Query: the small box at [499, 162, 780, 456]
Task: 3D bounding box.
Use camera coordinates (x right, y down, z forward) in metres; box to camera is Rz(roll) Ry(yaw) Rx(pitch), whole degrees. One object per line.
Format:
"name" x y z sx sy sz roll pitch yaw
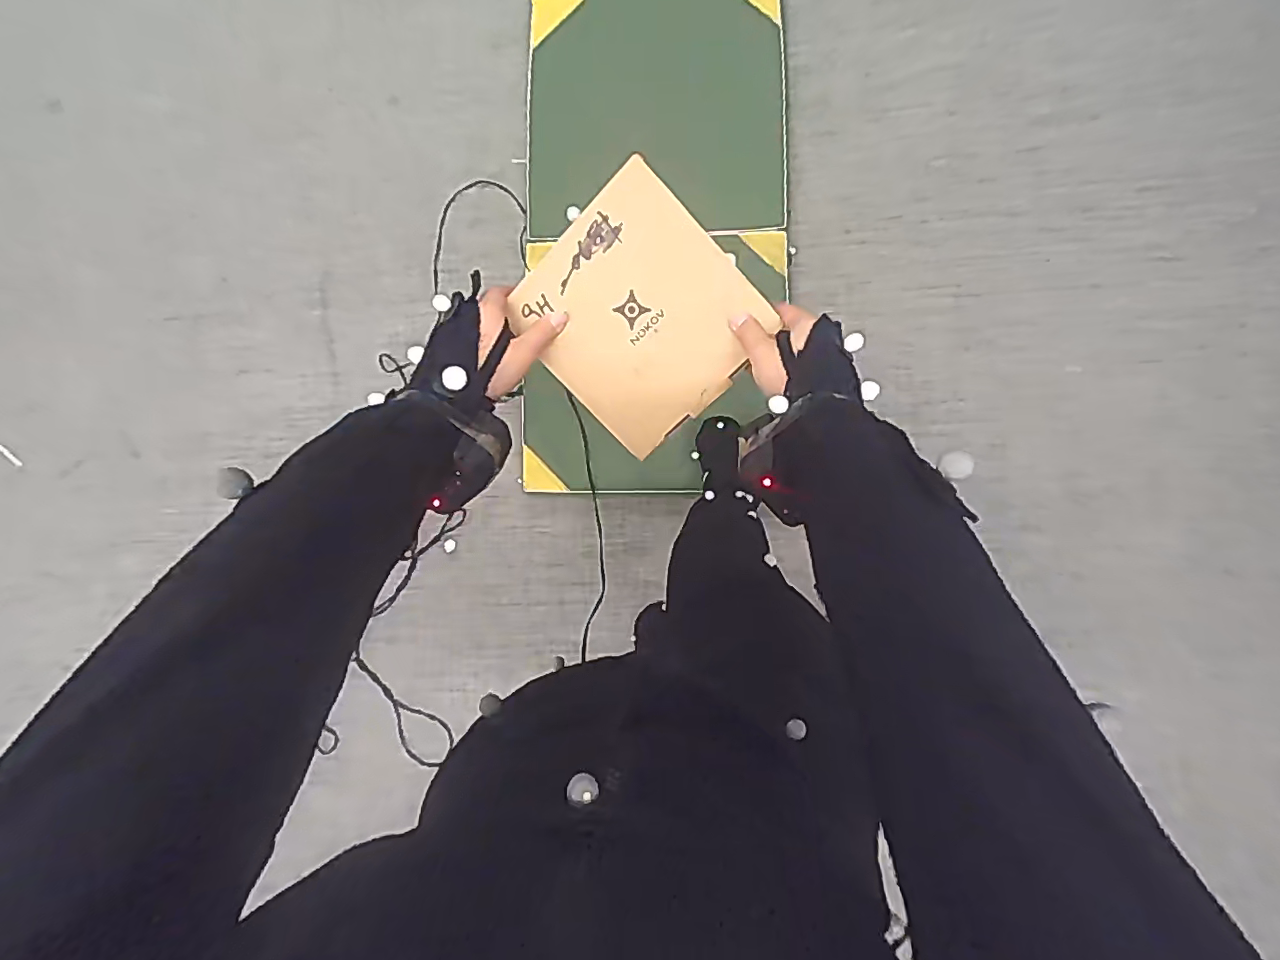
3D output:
"small box" 0.004 -0.155 0.518 0.168 0.176 0.179 -42 99 13
